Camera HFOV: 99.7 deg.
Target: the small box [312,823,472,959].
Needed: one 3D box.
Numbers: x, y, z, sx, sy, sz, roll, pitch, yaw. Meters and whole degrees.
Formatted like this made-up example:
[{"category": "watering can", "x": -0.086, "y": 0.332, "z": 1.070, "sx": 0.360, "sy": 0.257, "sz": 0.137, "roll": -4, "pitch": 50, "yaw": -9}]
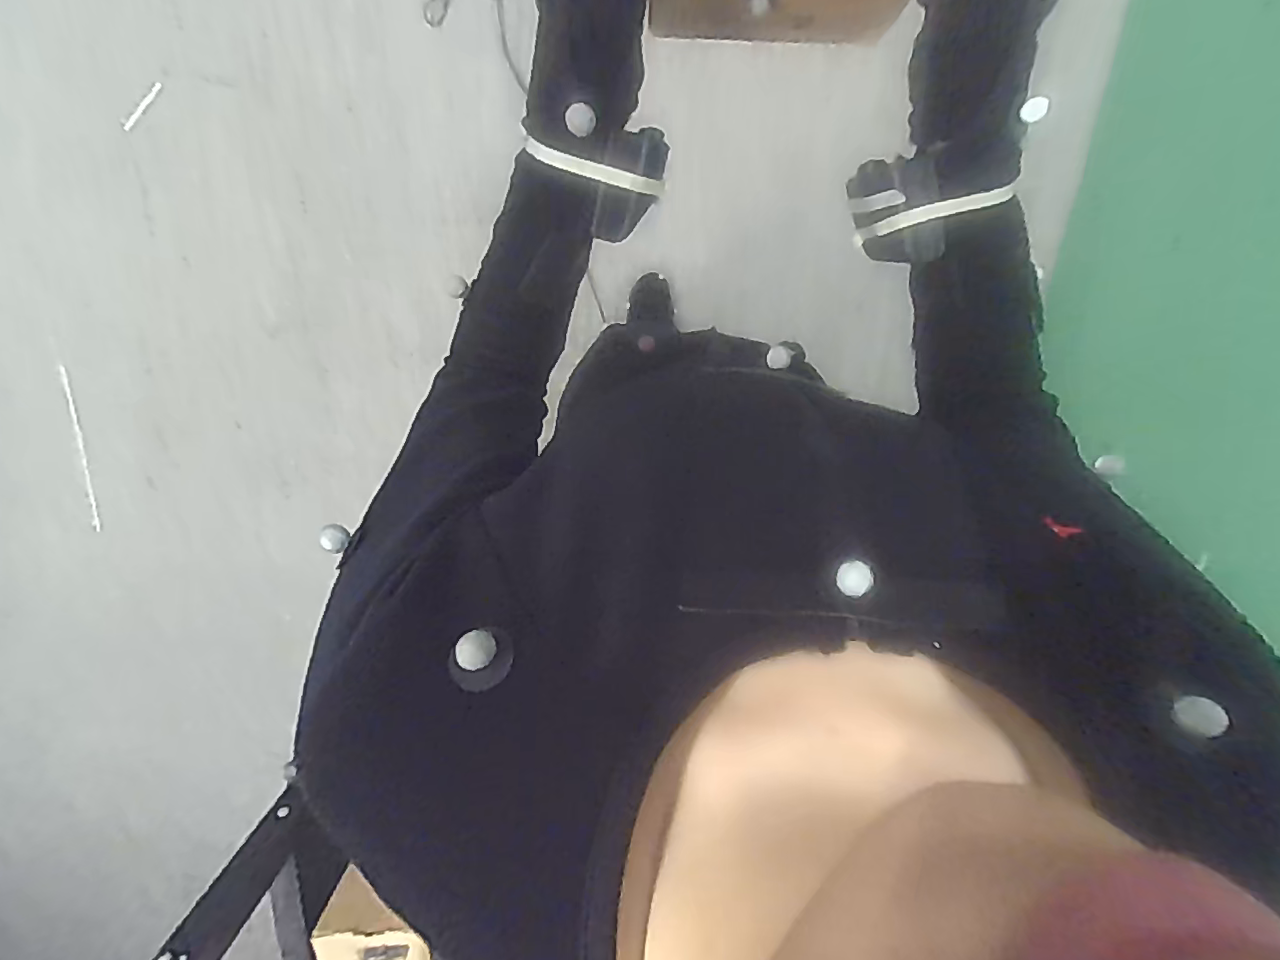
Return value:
[{"category": "small box", "x": -0.379, "y": 0.680, "z": 0.859, "sx": 0.168, "sy": 0.176, "sz": 0.179, "roll": -1, "pitch": 107, "yaw": 1}]
